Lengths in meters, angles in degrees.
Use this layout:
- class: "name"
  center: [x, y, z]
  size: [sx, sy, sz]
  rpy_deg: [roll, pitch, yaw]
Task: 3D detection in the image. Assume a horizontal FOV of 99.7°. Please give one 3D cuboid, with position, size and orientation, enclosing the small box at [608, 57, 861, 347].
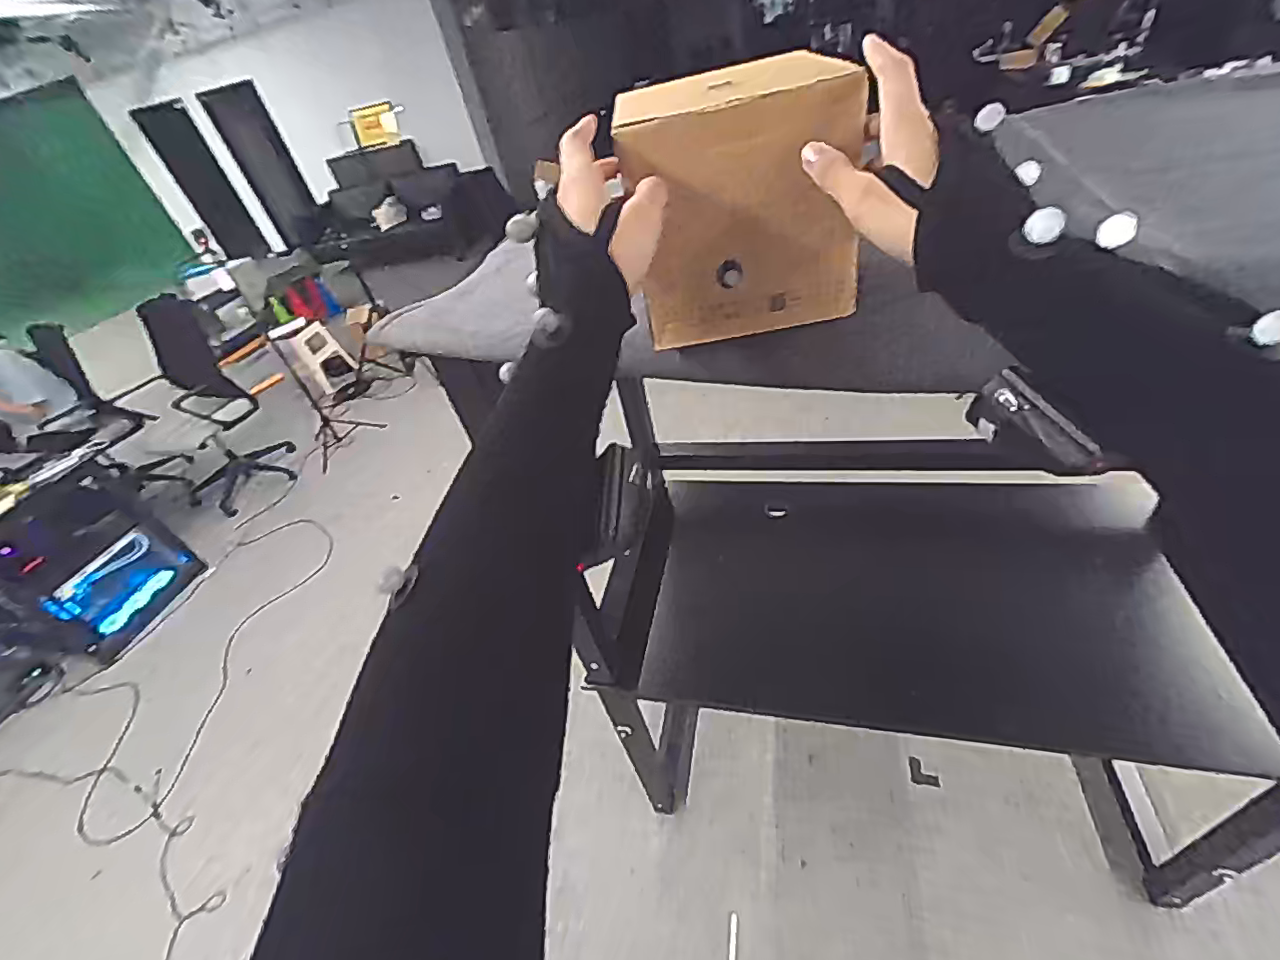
- class: "small box"
  center: [0.073, -0.236, 0.462]
  size: [0.168, 0.176, 0.179]
  rpy_deg: [-9, 41, 7]
